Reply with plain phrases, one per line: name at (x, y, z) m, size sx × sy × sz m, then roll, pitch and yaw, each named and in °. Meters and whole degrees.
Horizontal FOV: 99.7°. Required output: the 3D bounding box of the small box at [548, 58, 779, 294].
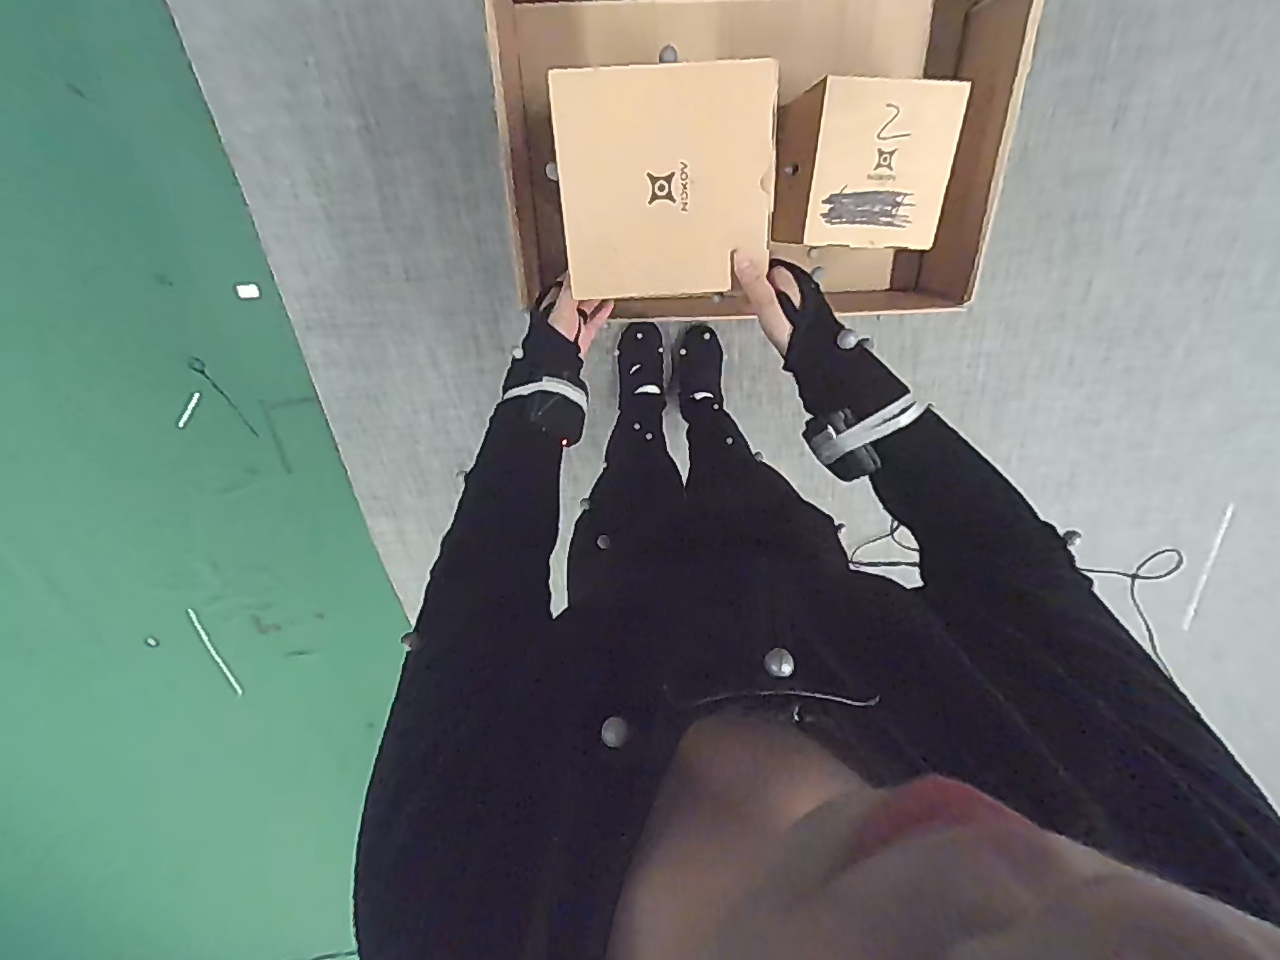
small box at (0.016, -0.272, 0.507) m, size 0.179 × 0.176 × 0.168 m, roll -5°, pitch 116°, yaw -3°
